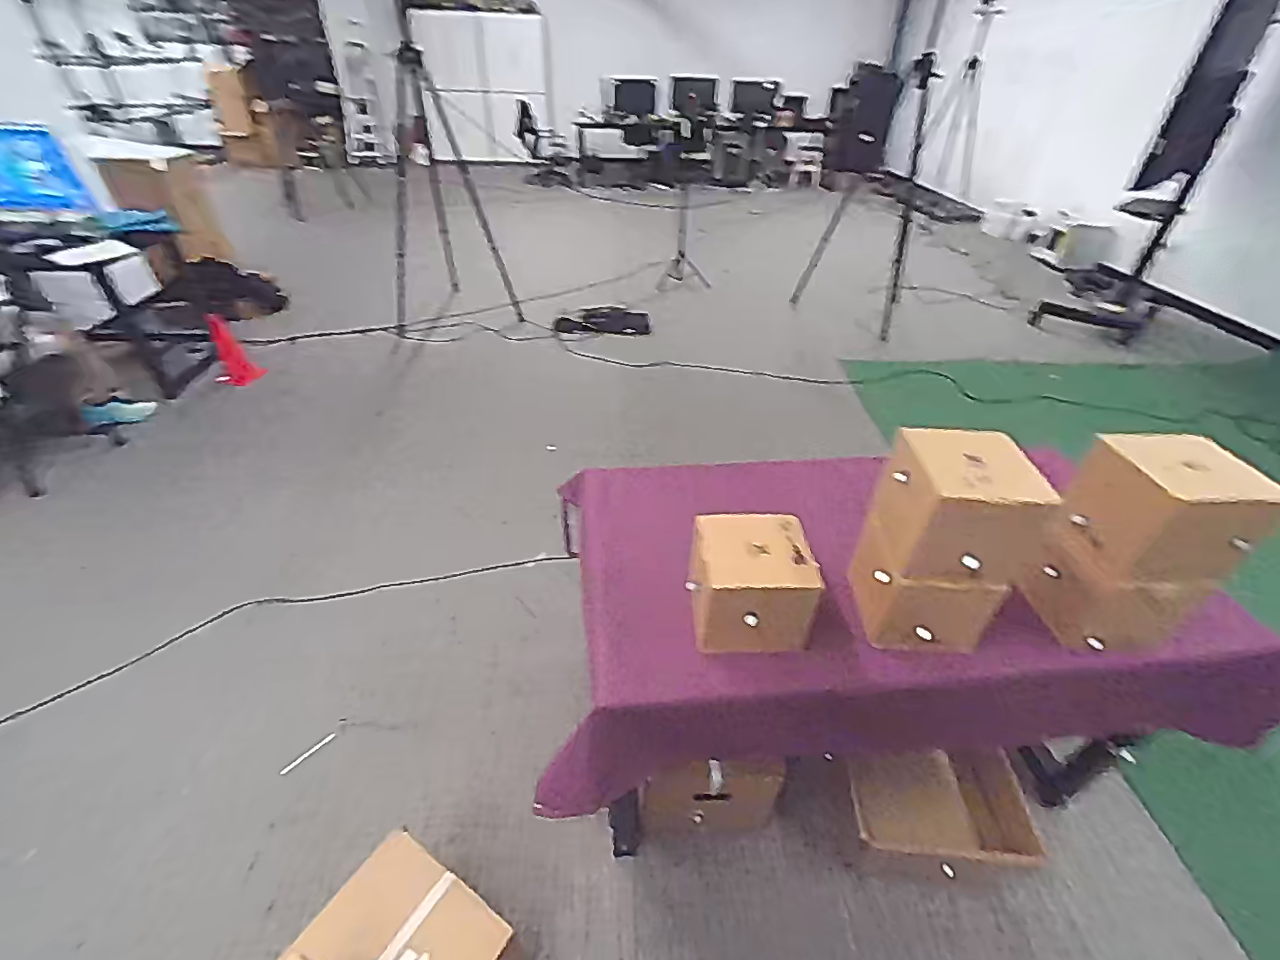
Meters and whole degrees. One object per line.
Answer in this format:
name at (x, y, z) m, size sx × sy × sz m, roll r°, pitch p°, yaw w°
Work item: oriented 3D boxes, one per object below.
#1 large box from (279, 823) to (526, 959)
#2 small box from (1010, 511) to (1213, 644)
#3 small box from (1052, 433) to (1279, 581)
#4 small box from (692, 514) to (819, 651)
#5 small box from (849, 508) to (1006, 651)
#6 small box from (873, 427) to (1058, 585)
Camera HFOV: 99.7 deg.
large box at (-0.463, 0.960, 0.983) m, size 0.320 × 0.320 × 0.408 m, roll 23°, pitch 43°, yaw 23°
small box at (0.802, 0.172, 0.945) m, size 0.168 × 0.176 × 0.179 m, roll -1°, pitch 38°, yaw -2°
small box at (0.809, 0.043, 0.846) m, size 0.179 × 0.176 × 0.168 m, roll 0°, pitch 38°, yaw -1°
small box at (0.183, 0.176, 0.922) m, size 0.179 × 0.176 × 0.168 m, roll -1°, pitch 39°, yaw -2°
small box at (0.481, 0.171, 0.941) m, size 0.168 × 0.176 × 0.179 m, roll 2°, pitch 39°, yaw 2°
small box at (0.485, 0.038, 0.843) m, size 0.168 × 0.176 × 0.179 m, roll 3°, pitch 39°, yaw 3°
